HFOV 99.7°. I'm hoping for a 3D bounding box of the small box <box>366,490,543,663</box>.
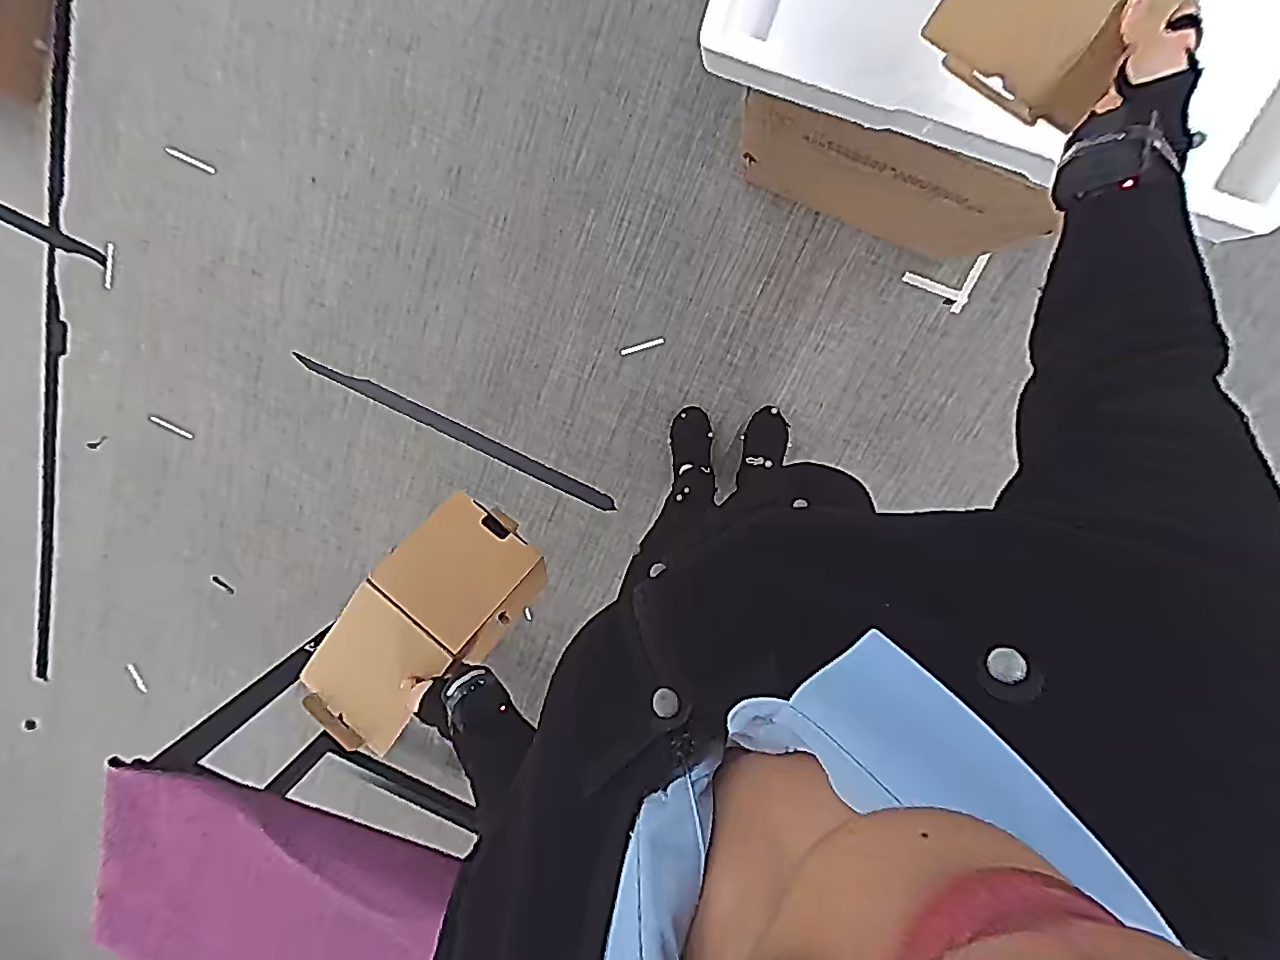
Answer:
[{"bbox_3d":[-0.259,0.152,0.807,0.168,0.176,0.179,37,68,9],"label":"small box"}]
